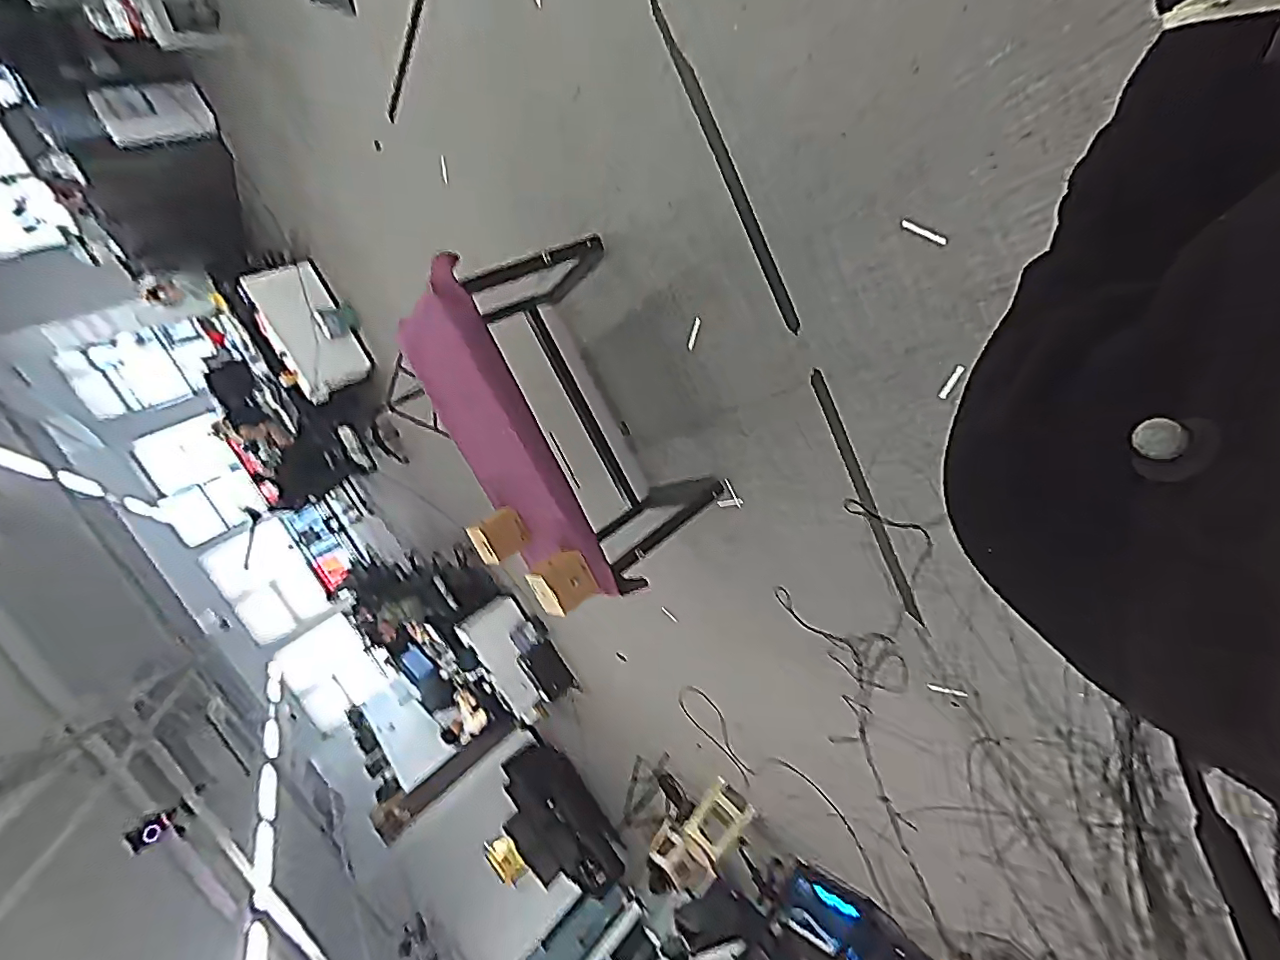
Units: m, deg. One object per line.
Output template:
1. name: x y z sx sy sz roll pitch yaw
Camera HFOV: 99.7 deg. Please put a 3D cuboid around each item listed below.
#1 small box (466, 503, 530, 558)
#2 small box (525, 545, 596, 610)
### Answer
1. small box: -0.582 0.205 2.235 0.179 0.176 0.168 -7 113 54
2. small box: -0.282 0.349 1.972 0.179 0.176 0.168 -8 111 55
